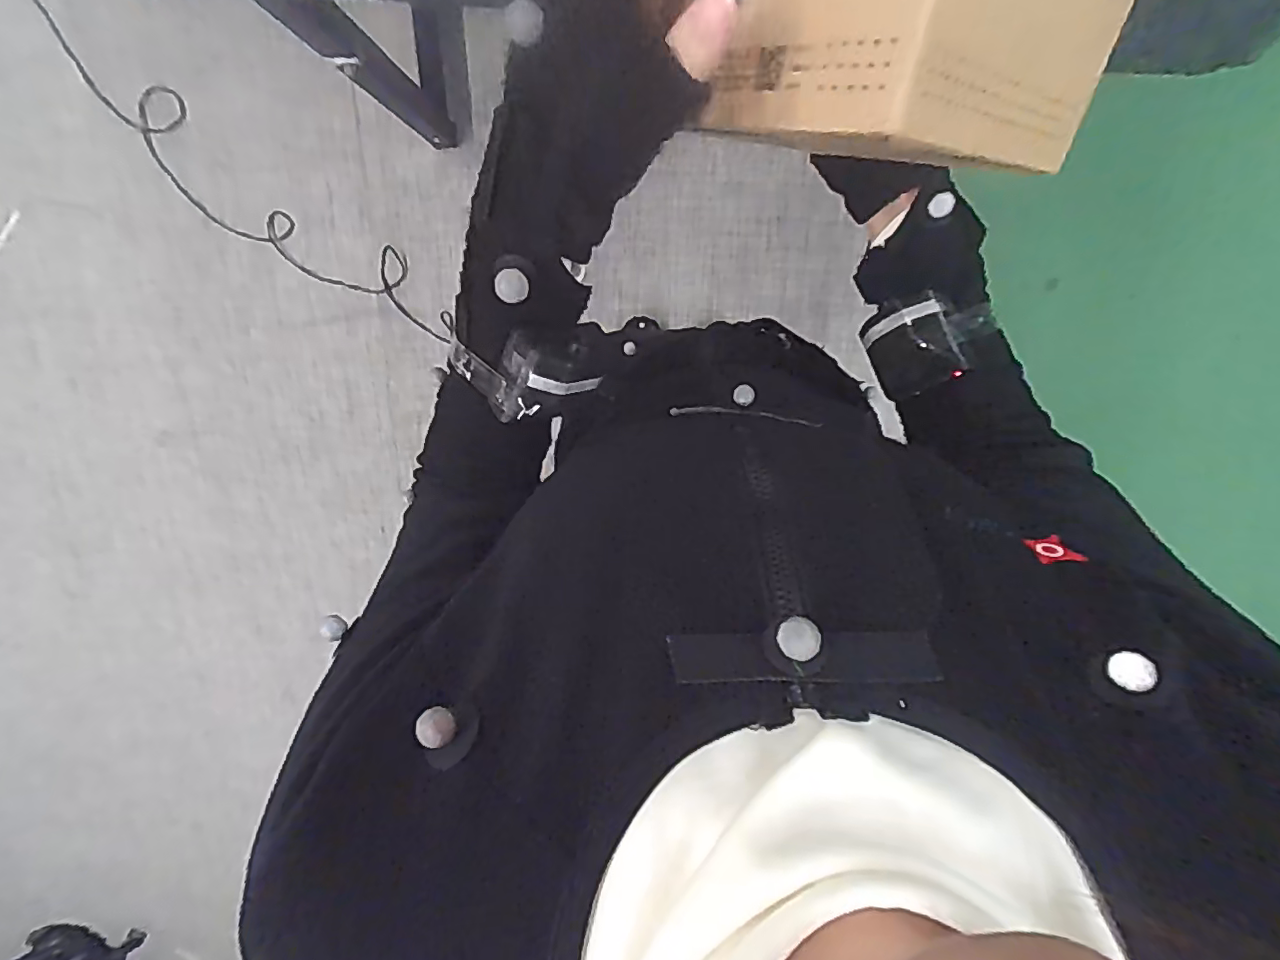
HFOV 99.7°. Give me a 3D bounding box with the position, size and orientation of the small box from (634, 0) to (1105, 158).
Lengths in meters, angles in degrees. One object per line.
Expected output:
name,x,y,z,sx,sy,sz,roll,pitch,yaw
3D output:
small box,0.114,-0.258,0.258,0.179,0.168,0.176,-18,128,-36
